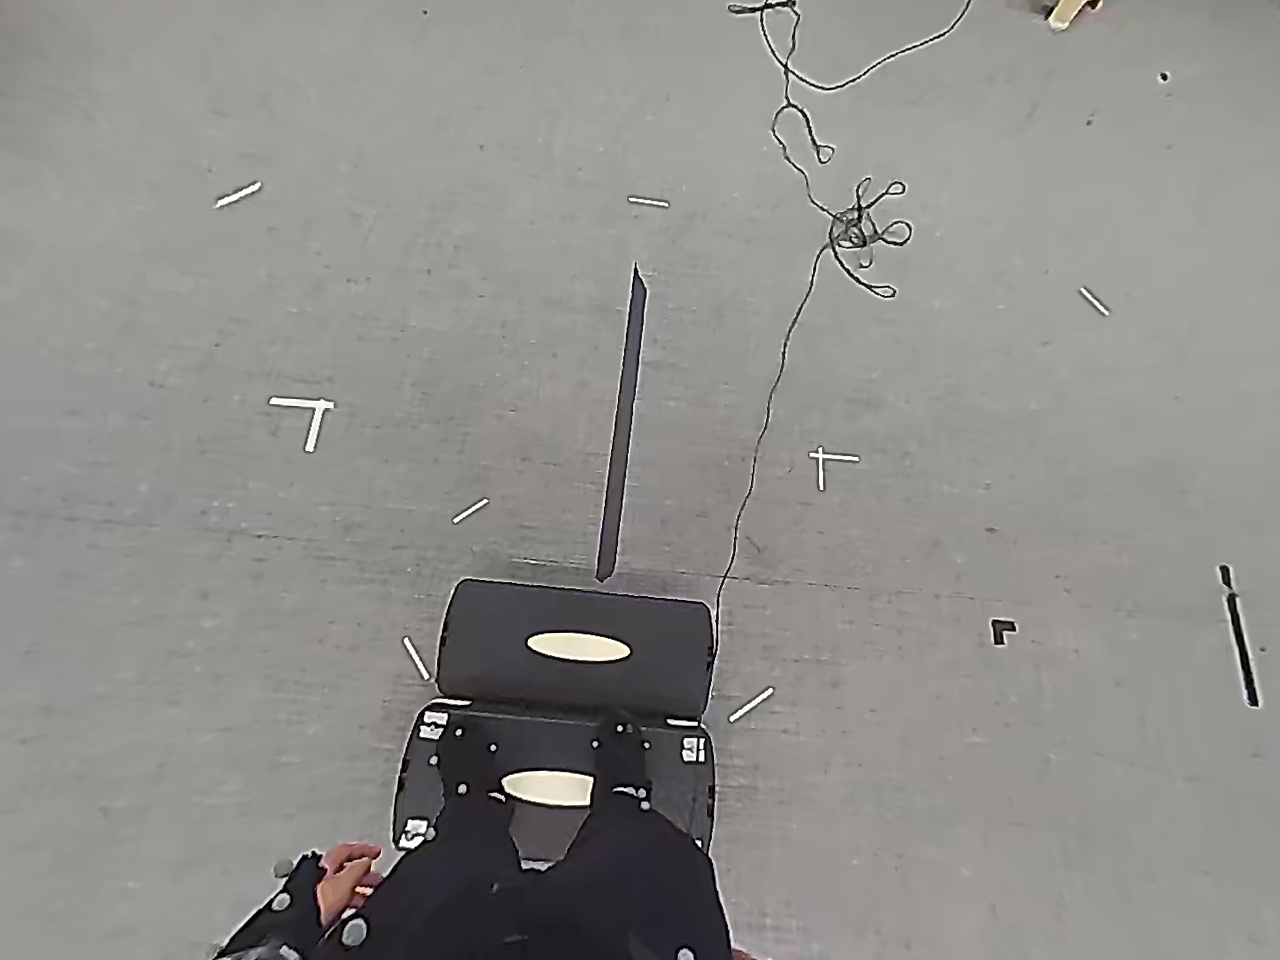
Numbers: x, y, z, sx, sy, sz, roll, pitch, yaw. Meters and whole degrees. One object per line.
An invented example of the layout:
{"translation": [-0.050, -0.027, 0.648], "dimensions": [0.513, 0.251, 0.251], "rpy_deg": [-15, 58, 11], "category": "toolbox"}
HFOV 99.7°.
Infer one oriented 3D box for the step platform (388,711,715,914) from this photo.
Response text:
{"translation": [-0.177, 0.717, 1.196], "dimensions": [0.684, 0.204, 0.286], "rpy_deg": [10, 69, 0], "category": "step platform"}
